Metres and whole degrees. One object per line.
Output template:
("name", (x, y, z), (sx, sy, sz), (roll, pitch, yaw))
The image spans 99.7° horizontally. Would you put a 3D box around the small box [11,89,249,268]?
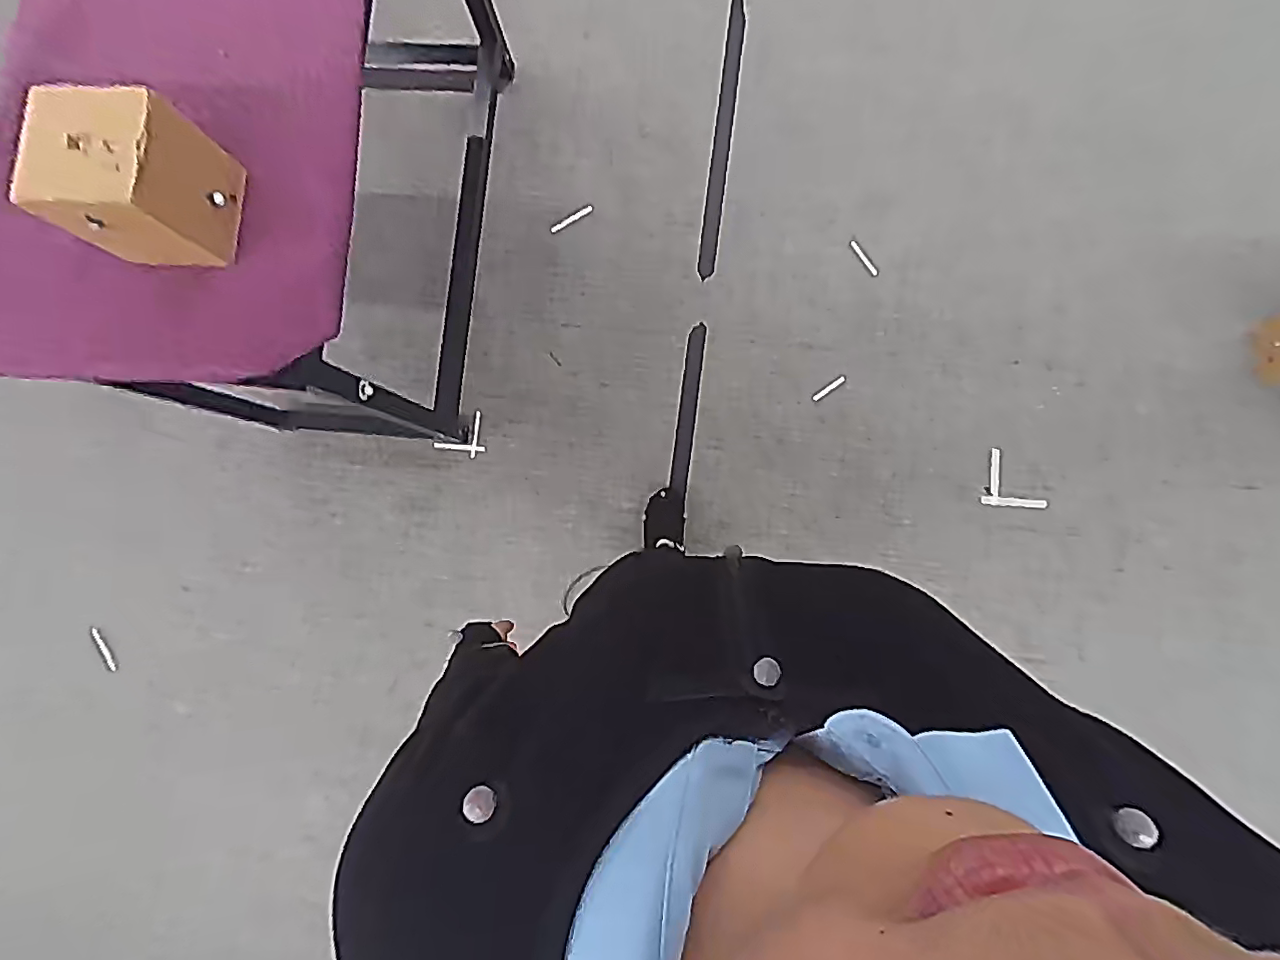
("small box", (-0.726, -0.426, 0.788), (0.179, 0.176, 0.168), (3, 84, 3))
